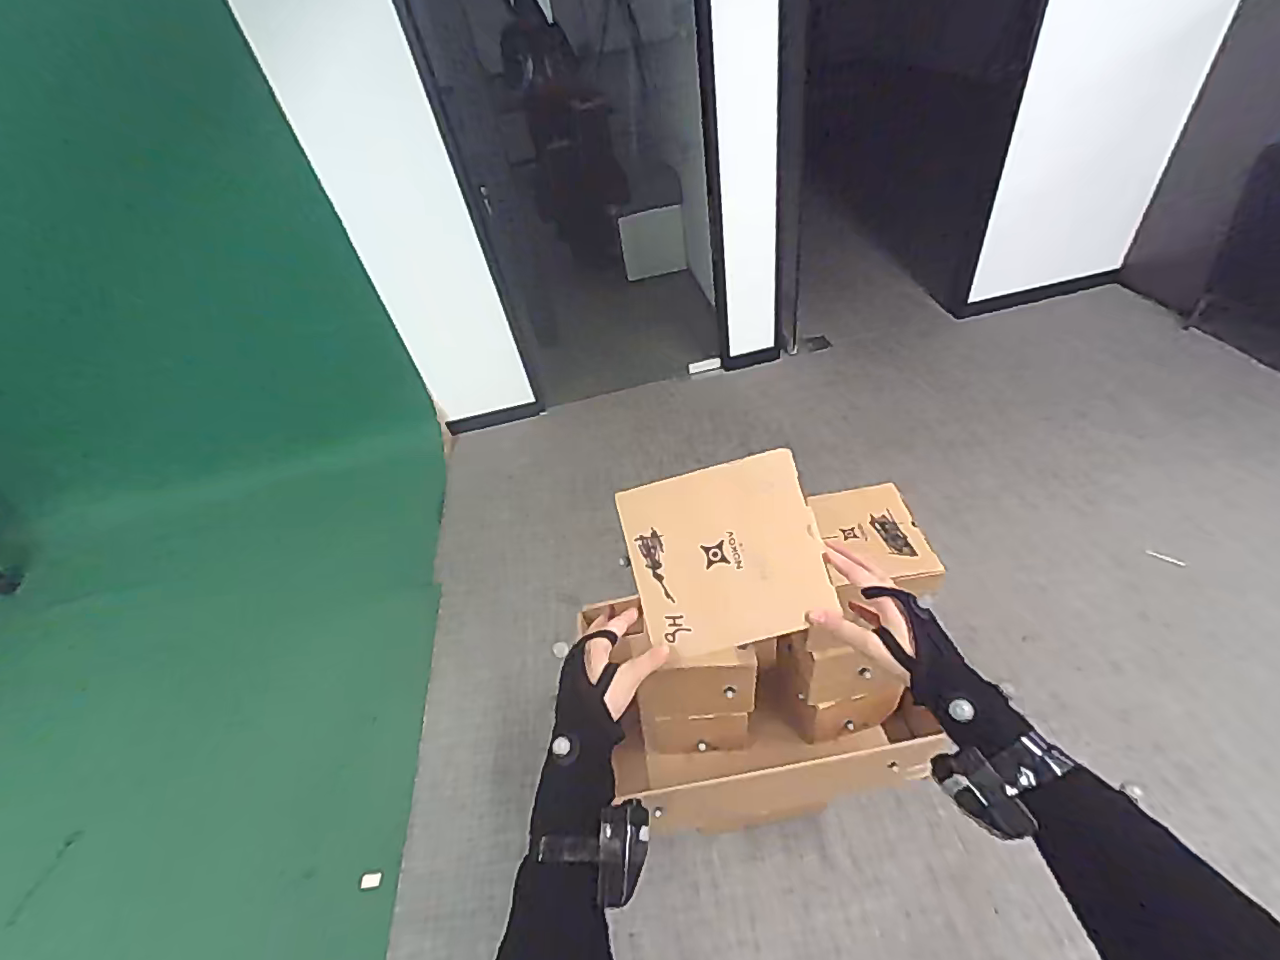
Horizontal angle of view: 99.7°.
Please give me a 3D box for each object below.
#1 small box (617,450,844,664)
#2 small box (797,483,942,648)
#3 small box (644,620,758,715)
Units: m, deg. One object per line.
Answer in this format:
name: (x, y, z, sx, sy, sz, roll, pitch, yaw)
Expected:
small box: (0.085, 0.084, 0.570, 0.179, 0.176, 0.168, -14, 76, 2)
small box: (0.315, 0.131, 0.814, 0.179, 0.176, 0.168, -10, 43, 4)
small box: (0.101, 0.290, 0.939, 0.179, 0.176, 0.168, -5, 42, 4)
